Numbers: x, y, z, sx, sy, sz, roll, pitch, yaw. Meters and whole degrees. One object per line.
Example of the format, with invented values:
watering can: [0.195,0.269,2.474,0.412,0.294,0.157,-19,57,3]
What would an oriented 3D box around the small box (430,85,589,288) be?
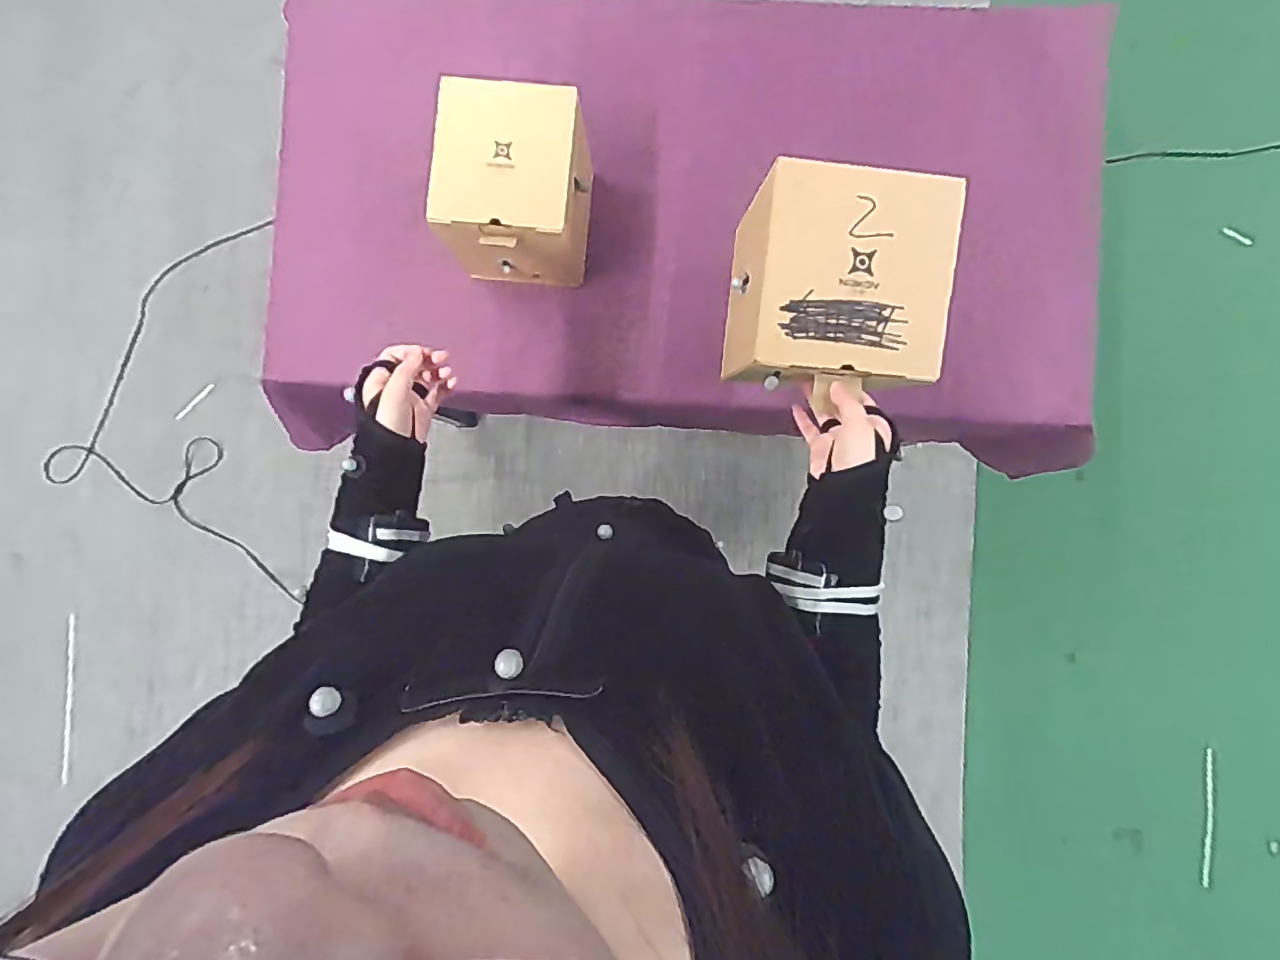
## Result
small box: [-0.164,-0.383,0.732,0.168,0.176,0.179,6,89,1]
